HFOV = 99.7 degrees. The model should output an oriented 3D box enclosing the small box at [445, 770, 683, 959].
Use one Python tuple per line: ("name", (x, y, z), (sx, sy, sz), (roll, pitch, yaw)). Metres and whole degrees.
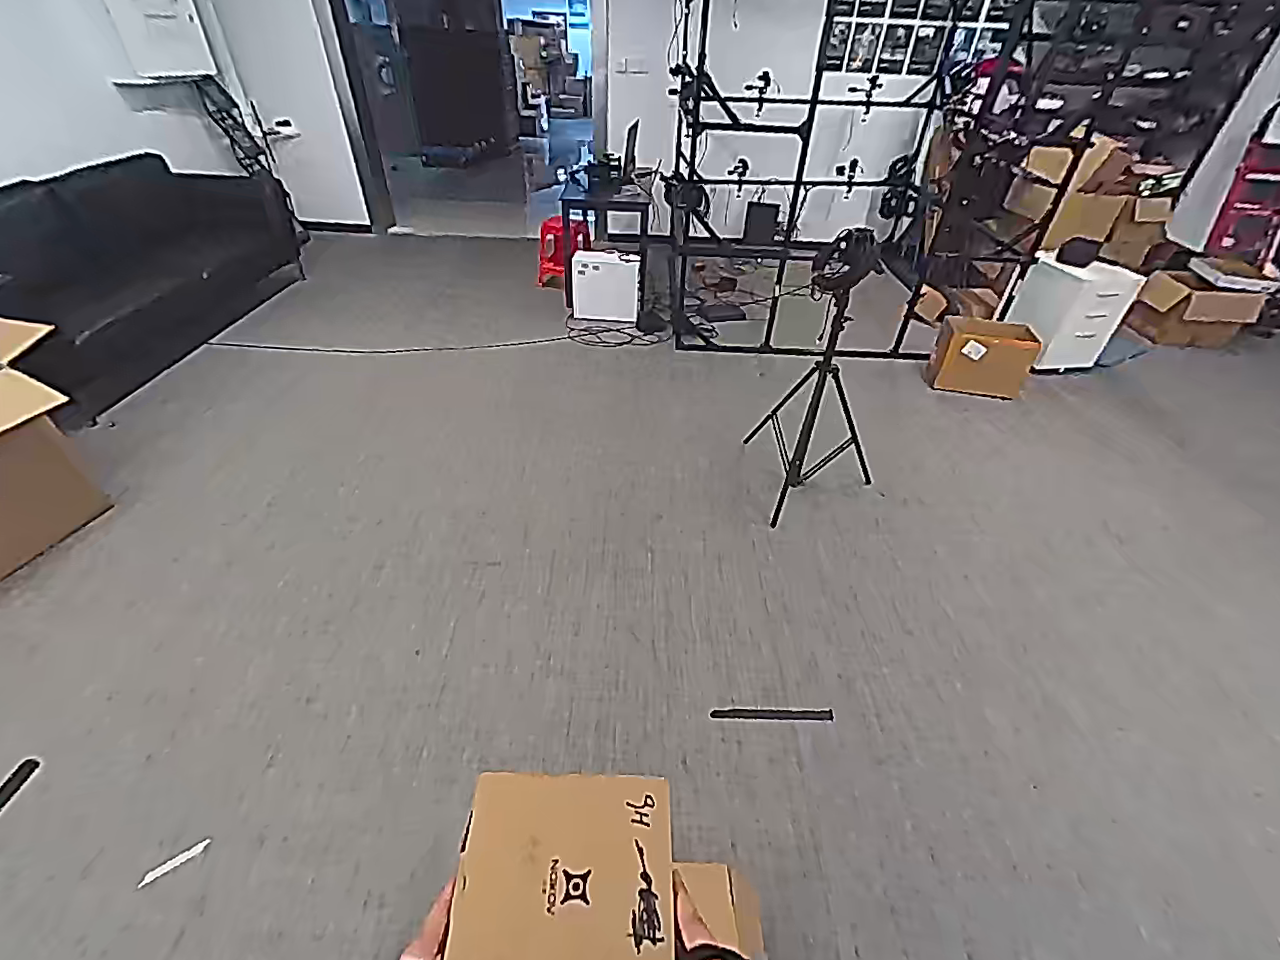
("small box", (-0.058, 0.376, 0.479), (0.179, 0.176, 0.168), (2, 43, -3))
